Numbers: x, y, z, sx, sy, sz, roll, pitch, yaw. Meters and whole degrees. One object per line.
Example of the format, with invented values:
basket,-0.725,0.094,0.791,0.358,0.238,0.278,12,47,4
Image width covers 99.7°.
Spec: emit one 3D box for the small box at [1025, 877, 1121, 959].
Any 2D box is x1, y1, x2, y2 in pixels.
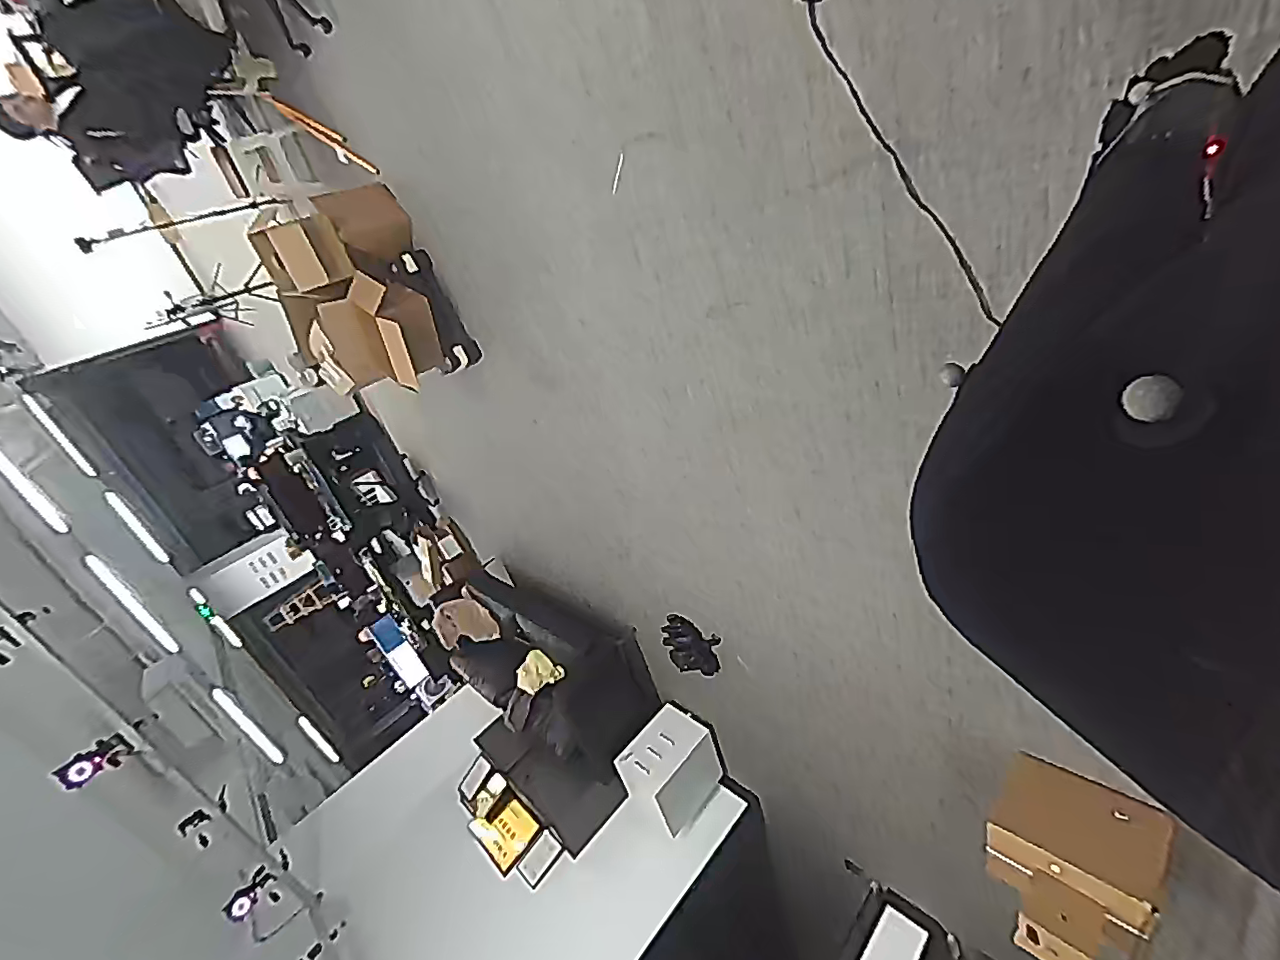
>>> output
small box,1.278,1.324,1.598,0.179,0.176,0.168,19,130,43
